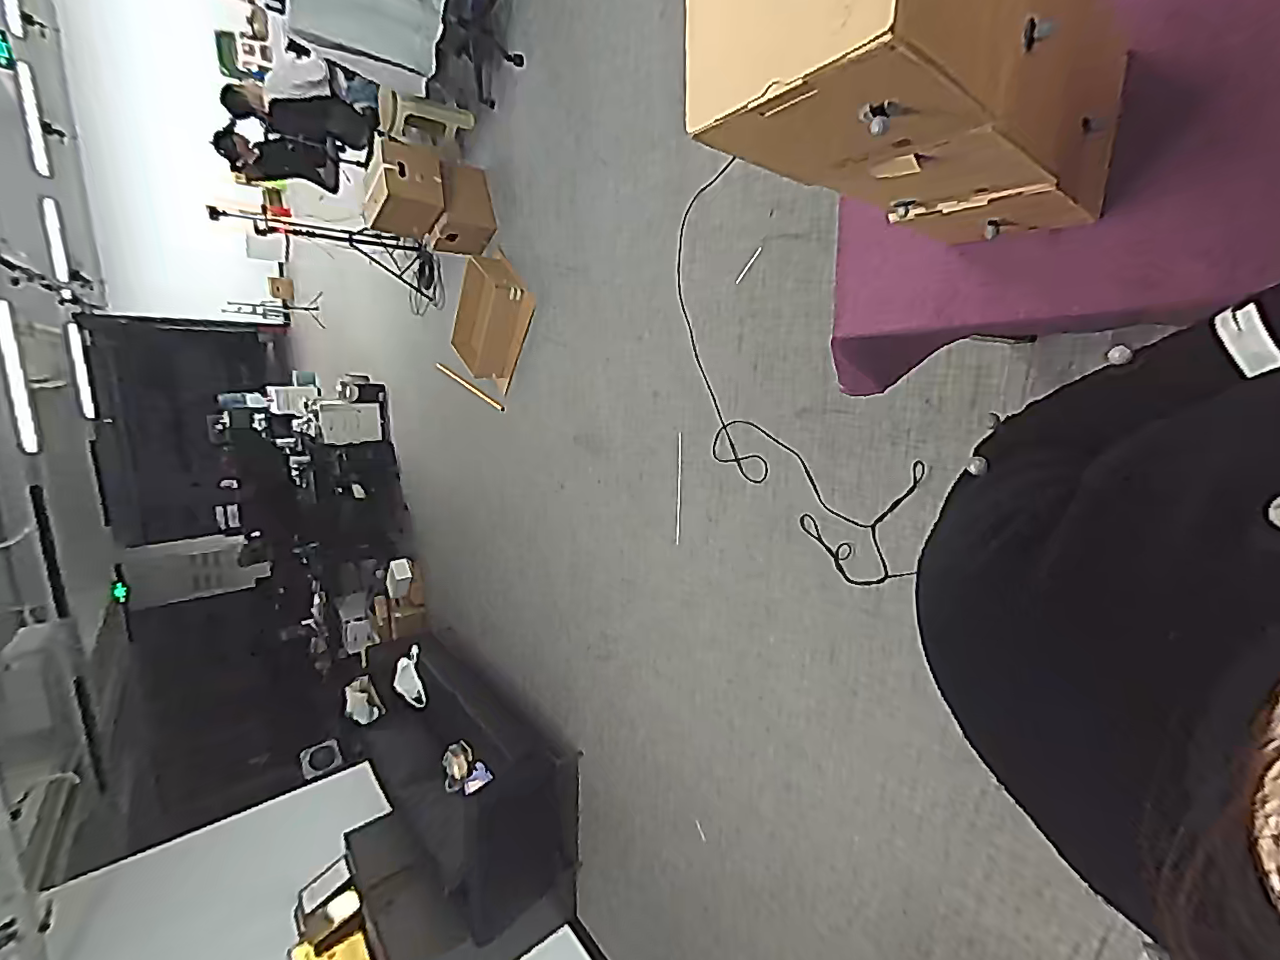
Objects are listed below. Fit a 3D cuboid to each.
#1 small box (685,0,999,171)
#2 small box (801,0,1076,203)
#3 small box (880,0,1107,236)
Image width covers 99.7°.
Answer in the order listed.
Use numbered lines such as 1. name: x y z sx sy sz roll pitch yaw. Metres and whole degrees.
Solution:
1. small box: 0.151 -0.352 0.401 0.168 0.176 0.179 13 106 48
2. small box: 0.275 -0.374 0.504 0.168 0.176 0.179 16 108 48
3. small box: 0.398 -0.386 0.613 0.168 0.176 0.179 14 108 47
